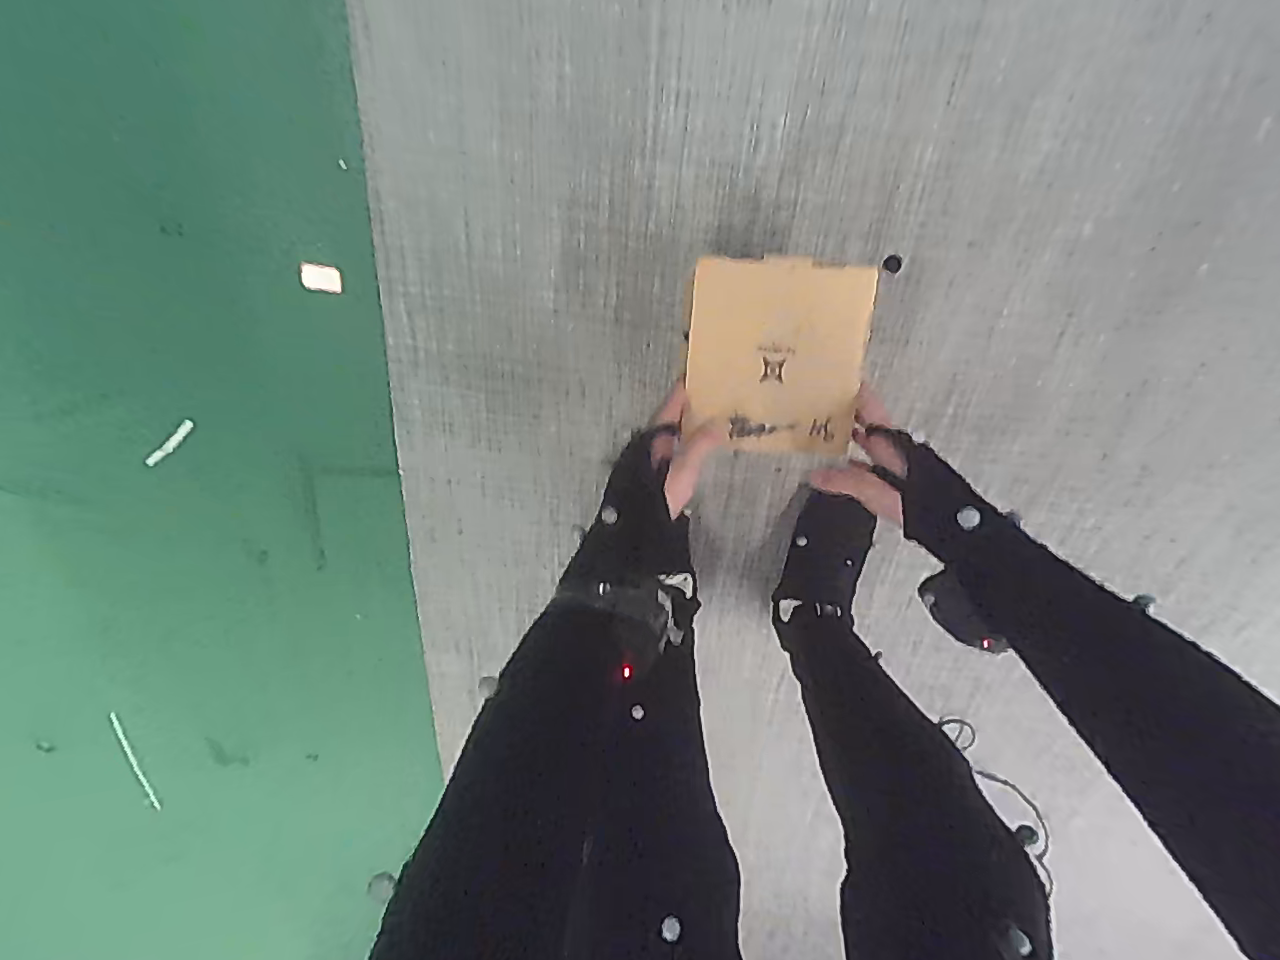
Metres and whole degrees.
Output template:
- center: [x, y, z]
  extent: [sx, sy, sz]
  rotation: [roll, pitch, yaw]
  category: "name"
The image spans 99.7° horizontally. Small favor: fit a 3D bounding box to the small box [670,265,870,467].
- center: [0.120, -0.121, 0.577]
  extent: [0.168, 0.176, 0.179]
  rotation: [4, 104, 1]
  category: "small box"
